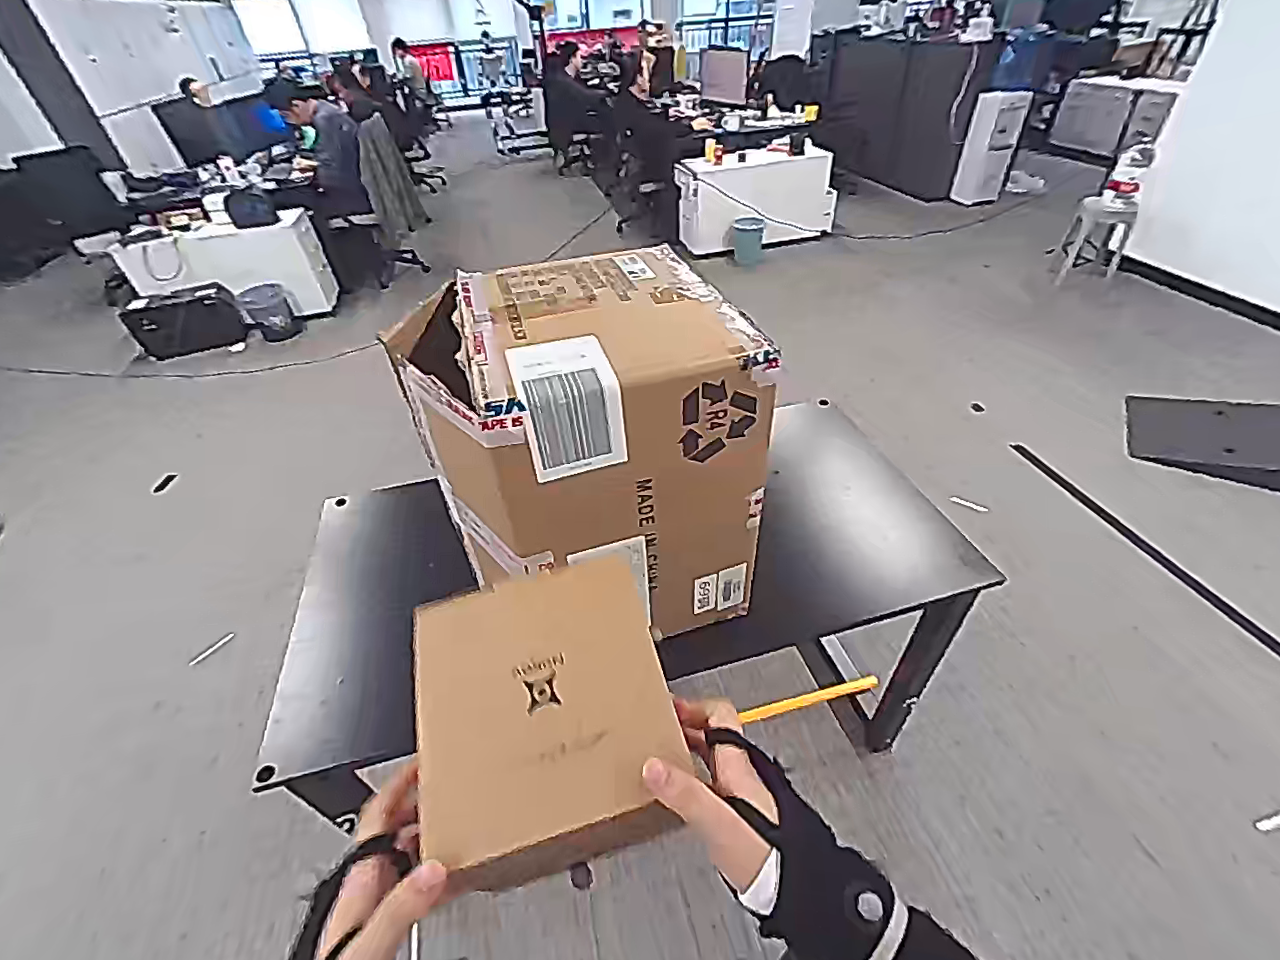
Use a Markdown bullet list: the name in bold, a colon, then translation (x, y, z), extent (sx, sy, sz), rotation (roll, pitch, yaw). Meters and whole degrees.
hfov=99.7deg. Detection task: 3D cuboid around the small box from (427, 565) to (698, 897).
- **small box**: translation (-0.060, 0.202, 0.436), extent (0.168, 0.176, 0.179), rotation (-15, 50, -8)
